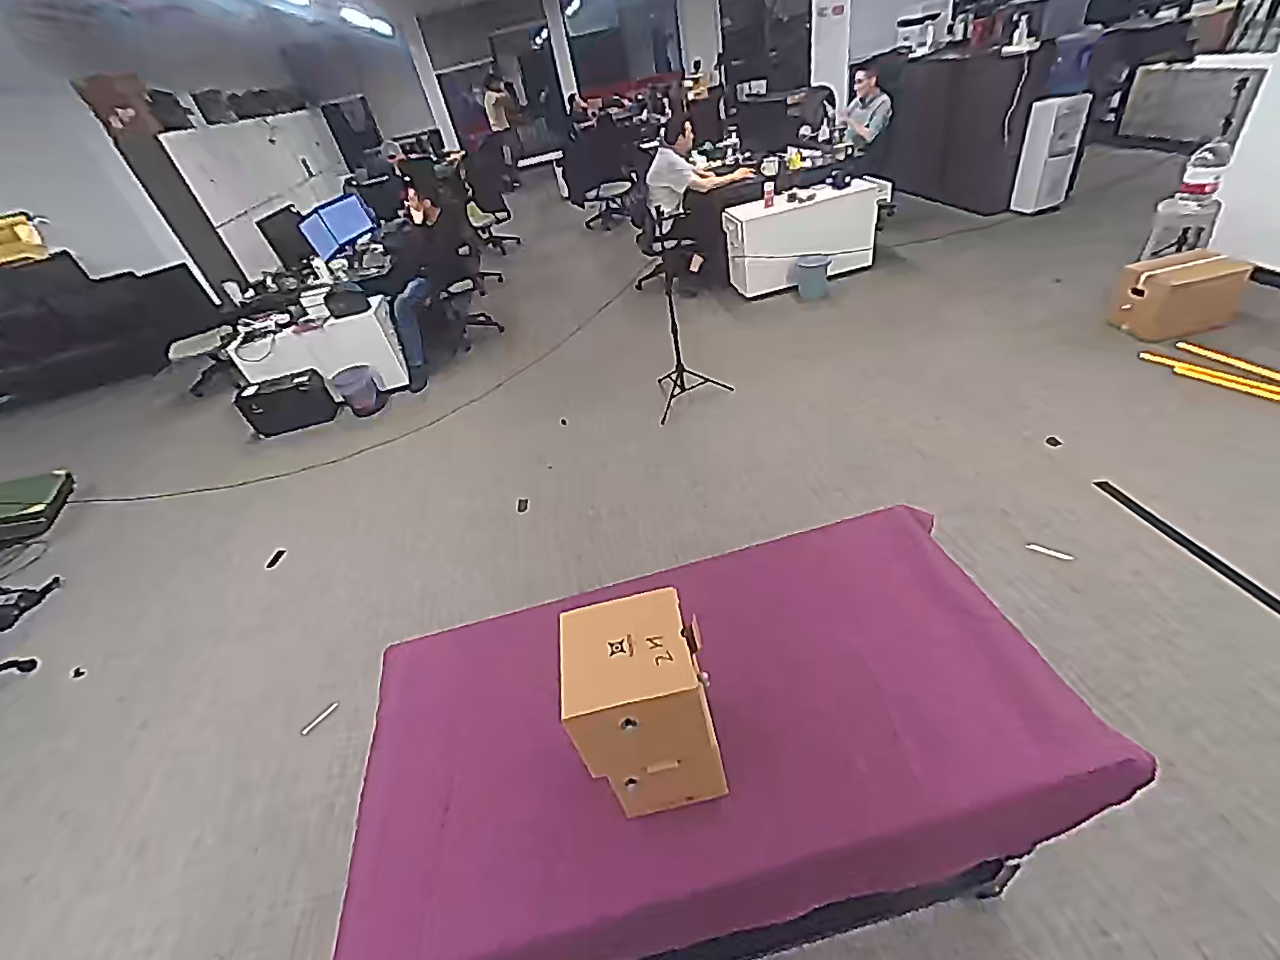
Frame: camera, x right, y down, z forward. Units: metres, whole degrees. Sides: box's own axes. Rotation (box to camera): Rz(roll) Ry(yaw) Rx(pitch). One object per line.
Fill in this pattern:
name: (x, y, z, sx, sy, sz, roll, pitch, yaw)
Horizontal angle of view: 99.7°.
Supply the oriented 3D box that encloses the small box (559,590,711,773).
small box: (-0.008, 0.289, 0.772, 0.179, 0.176, 0.168, -13, 38, 1)
